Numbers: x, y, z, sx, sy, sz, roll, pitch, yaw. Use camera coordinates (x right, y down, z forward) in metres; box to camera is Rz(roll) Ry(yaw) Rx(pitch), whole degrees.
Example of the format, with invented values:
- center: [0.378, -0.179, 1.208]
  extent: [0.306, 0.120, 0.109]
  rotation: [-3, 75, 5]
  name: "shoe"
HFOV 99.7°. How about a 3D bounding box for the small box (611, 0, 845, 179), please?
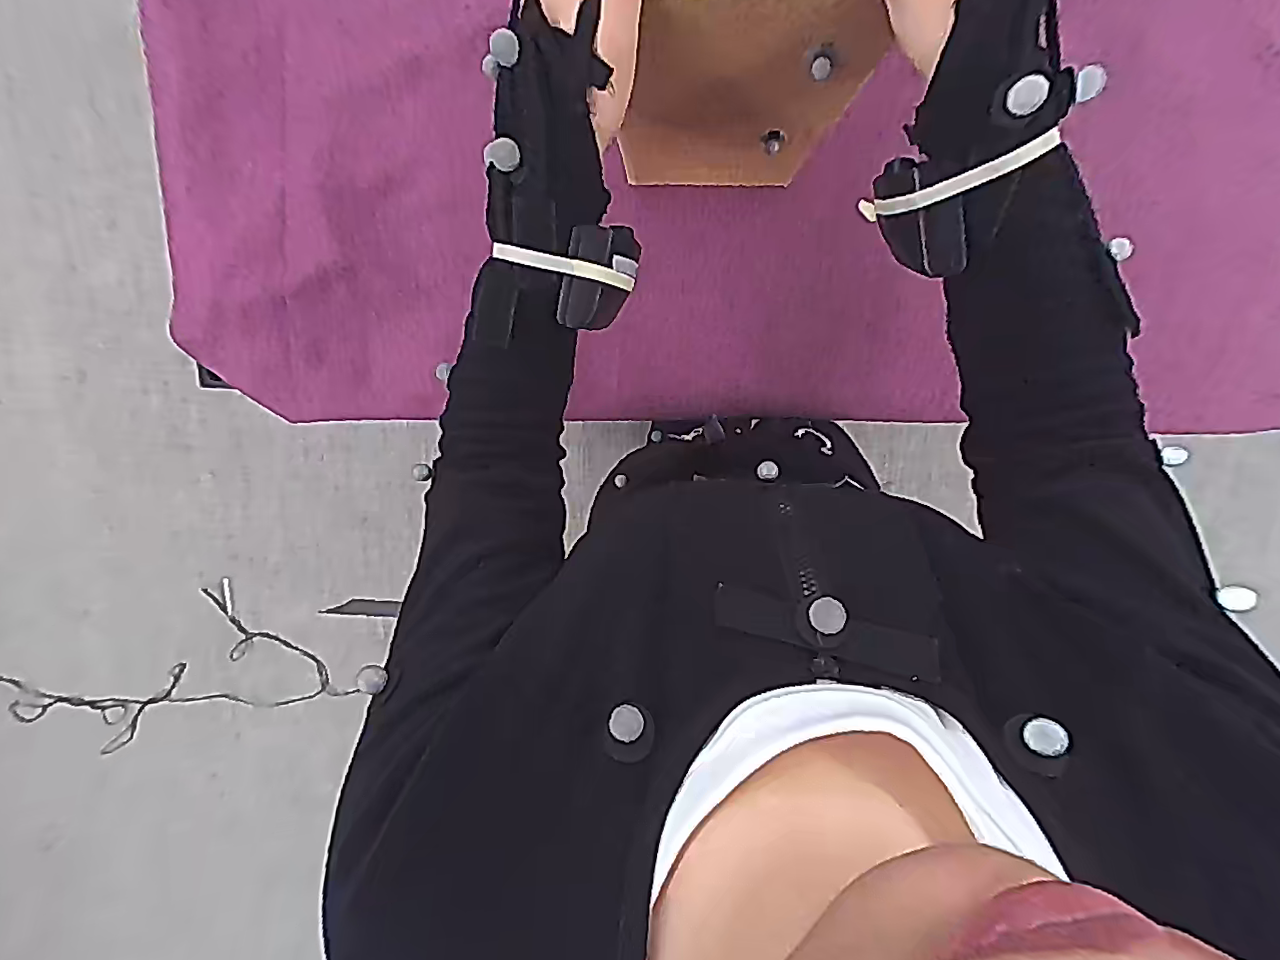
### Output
- center: [0.070, -0.382, 0.481]
  extent: [0.179, 0.176, 0.168]
  rotation: [1, 102, 3]
  name: "small box"
